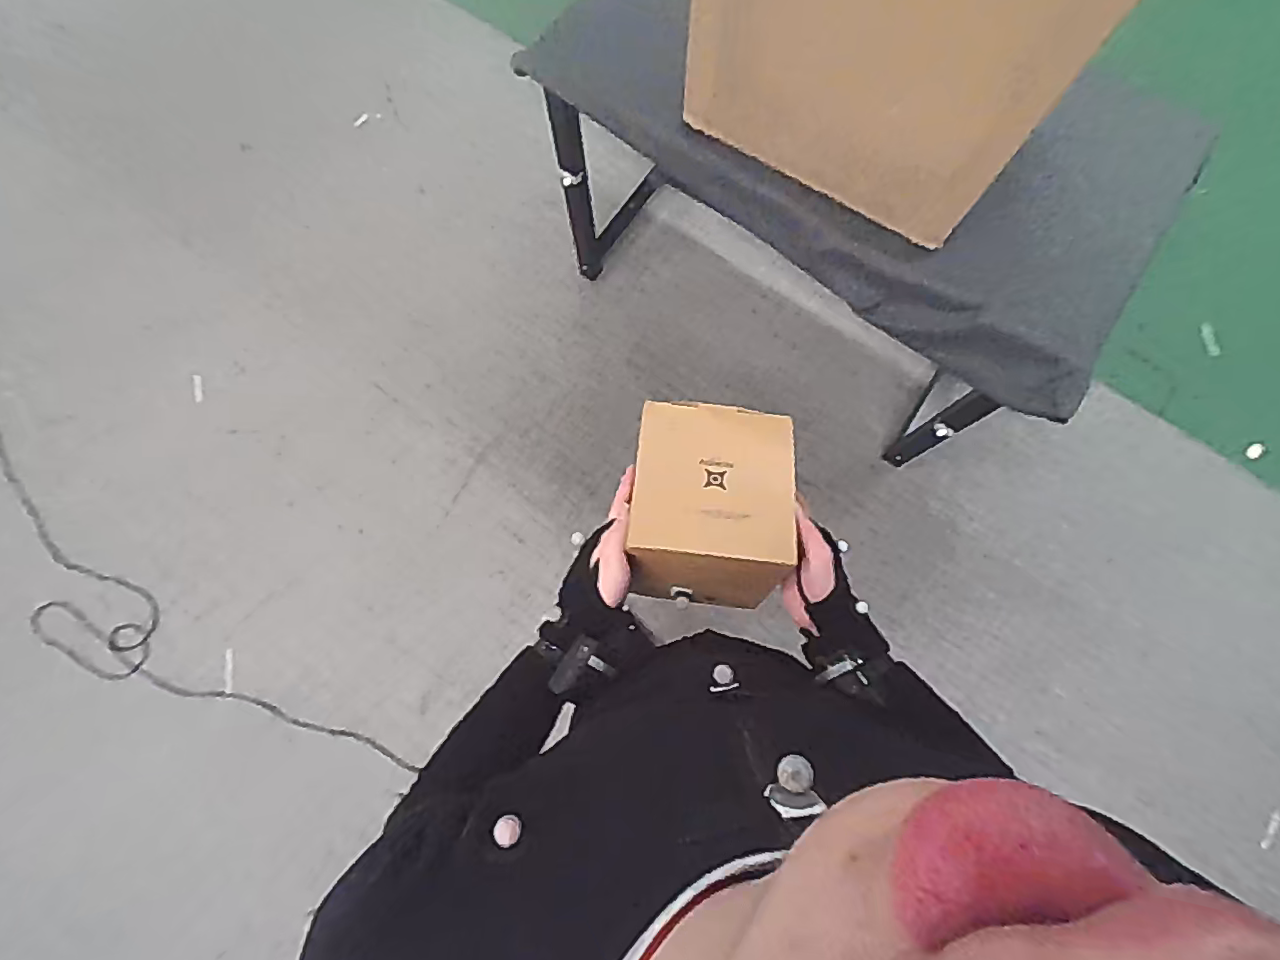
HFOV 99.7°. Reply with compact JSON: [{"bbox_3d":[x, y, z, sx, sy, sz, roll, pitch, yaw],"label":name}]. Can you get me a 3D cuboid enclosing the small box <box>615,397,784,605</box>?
[{"bbox_3d":[0.063,0.031,0.634,0.168,0.176,0.179,8,63,0],"label":"small box"}]
